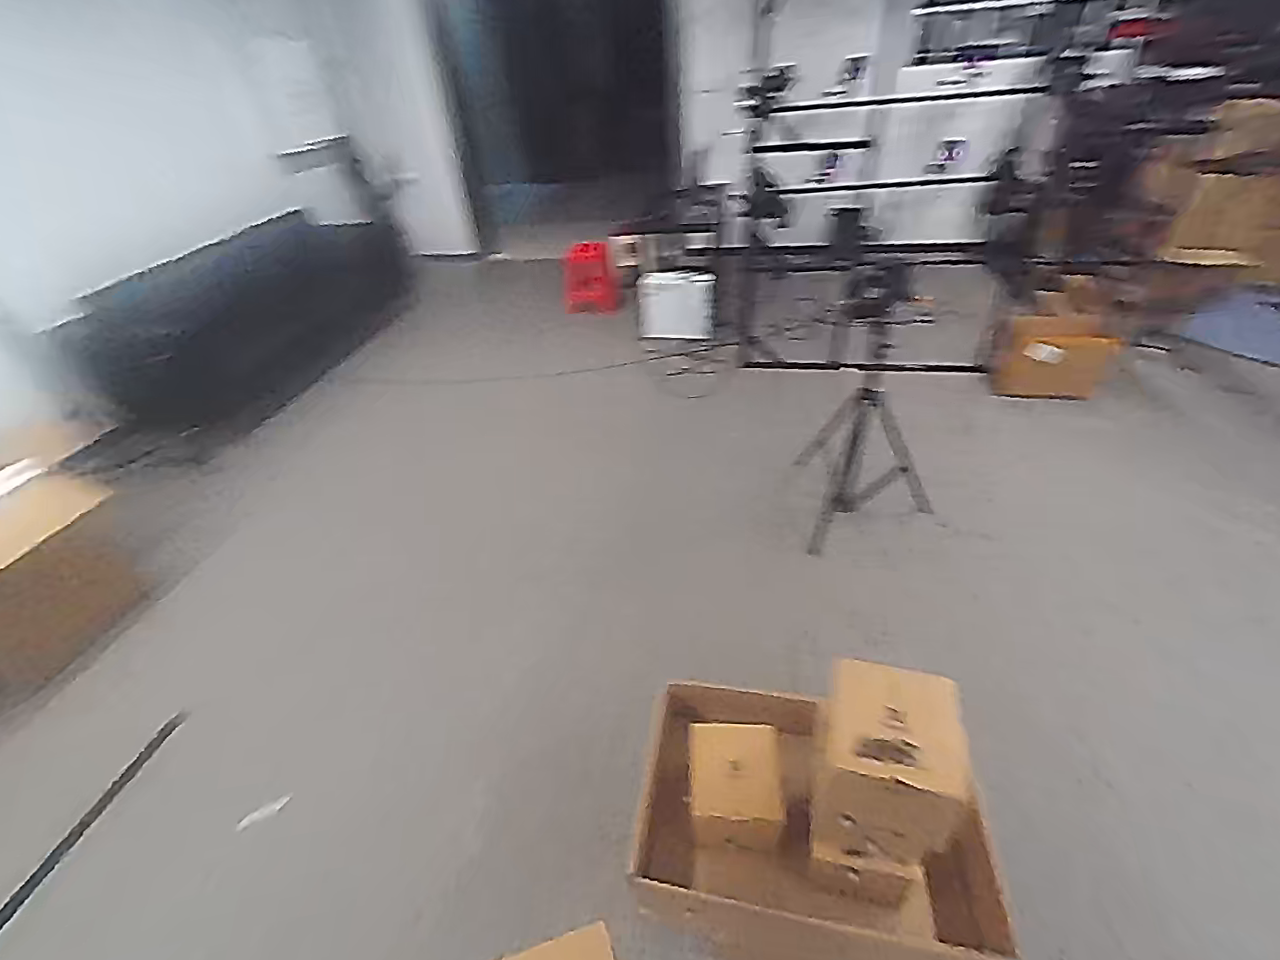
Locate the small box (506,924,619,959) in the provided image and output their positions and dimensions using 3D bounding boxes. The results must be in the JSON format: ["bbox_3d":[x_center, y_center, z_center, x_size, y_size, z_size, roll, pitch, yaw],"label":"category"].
[{"bbox_3d":[-0.092,0.647,0.580,0.179,0.176,0.168,-6,16,-20],"label":"small box"}]

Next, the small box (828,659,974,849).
[{"bbox_3d":[0.372,0.400,0.793,0.168,0.176,0.179,6,39,19],"label":"small box"}]

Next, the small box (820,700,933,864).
[{"bbox_3d":[0.398,0.509,0.918,0.168,0.176,0.179,3,39,16],"label":"small box"}]

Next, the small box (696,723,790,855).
[{"bbox_3d":[0.196,0.613,1.078,0.168,0.176,0.179,-1,39,5],"label":"small box"}]
